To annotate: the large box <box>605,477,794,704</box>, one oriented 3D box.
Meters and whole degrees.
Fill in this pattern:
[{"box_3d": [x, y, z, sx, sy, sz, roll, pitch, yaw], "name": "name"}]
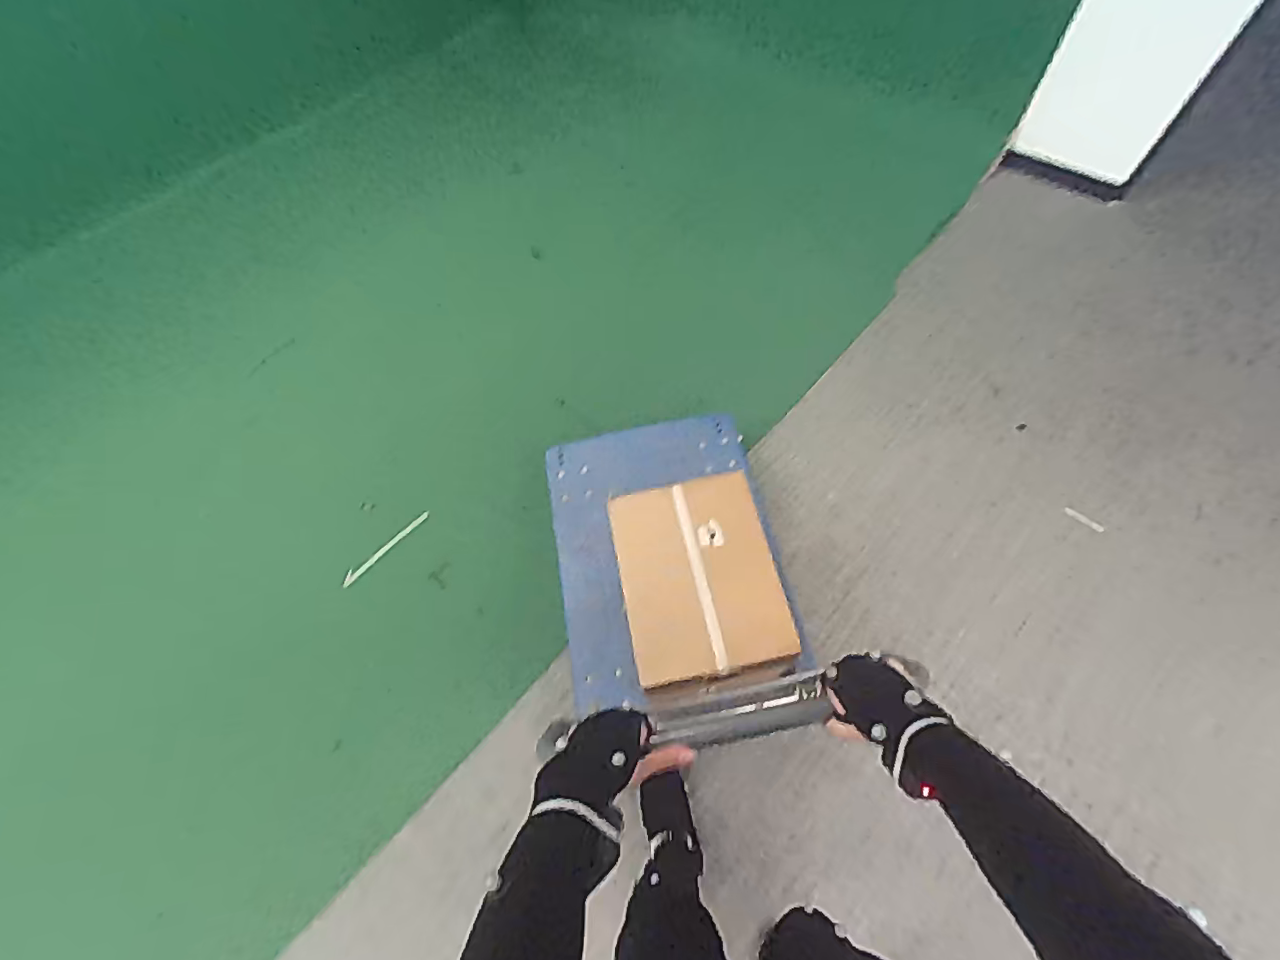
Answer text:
[{"box_3d": [0.124, 0.264, 1.256, 0.320, 0.320, 0.408, -12, 61, -2], "name": "large box"}]
